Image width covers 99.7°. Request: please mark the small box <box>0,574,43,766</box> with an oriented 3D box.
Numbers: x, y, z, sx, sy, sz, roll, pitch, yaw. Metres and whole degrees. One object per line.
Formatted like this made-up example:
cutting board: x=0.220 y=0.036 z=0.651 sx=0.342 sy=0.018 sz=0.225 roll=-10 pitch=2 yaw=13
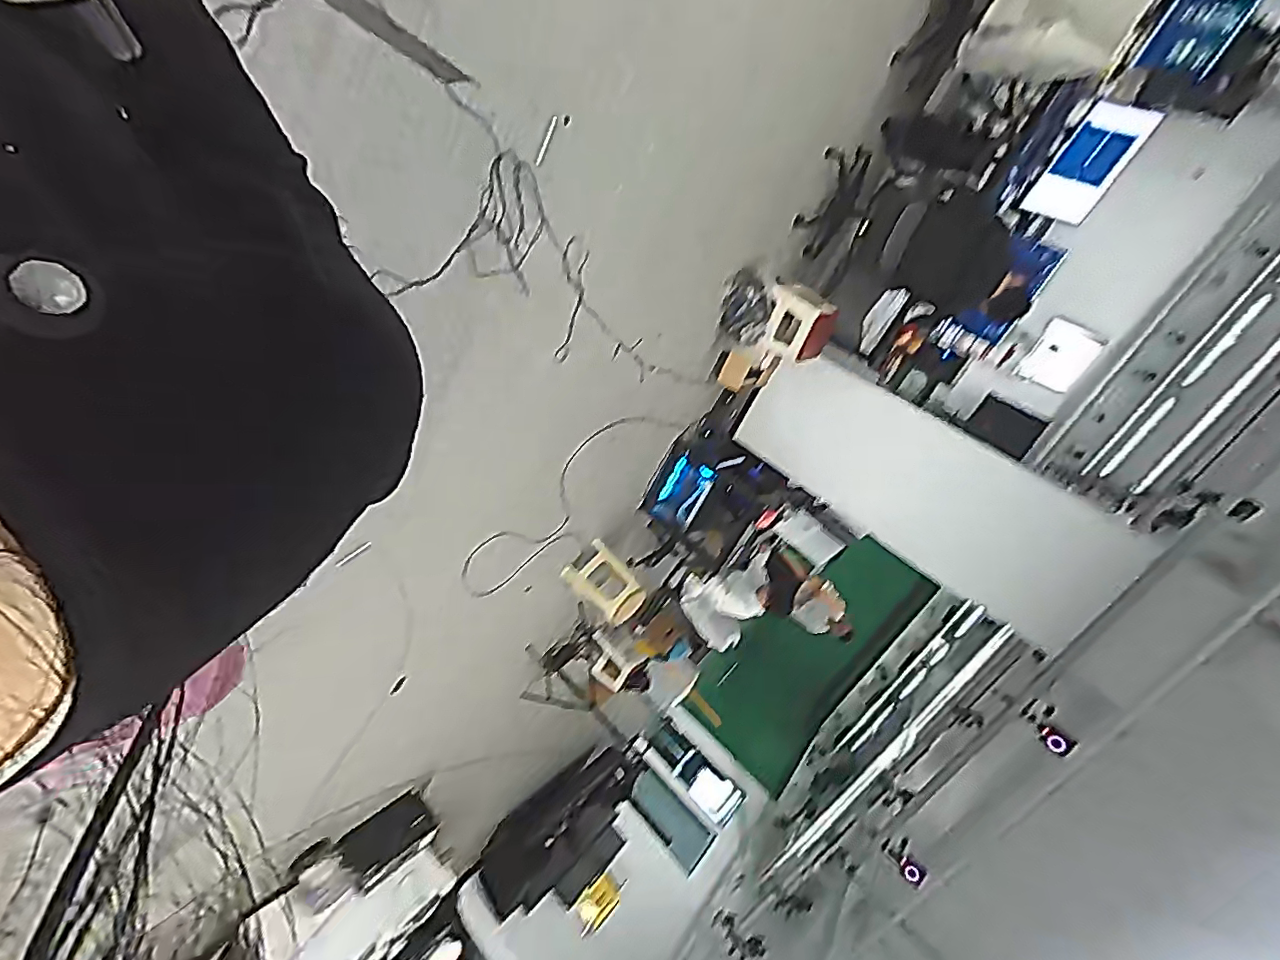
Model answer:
small box: x=-0.775 y=0.213 z=0.571 sx=0.168 sy=0.176 sz=0.179 roll=-8 pitch=132 yaw=-56
